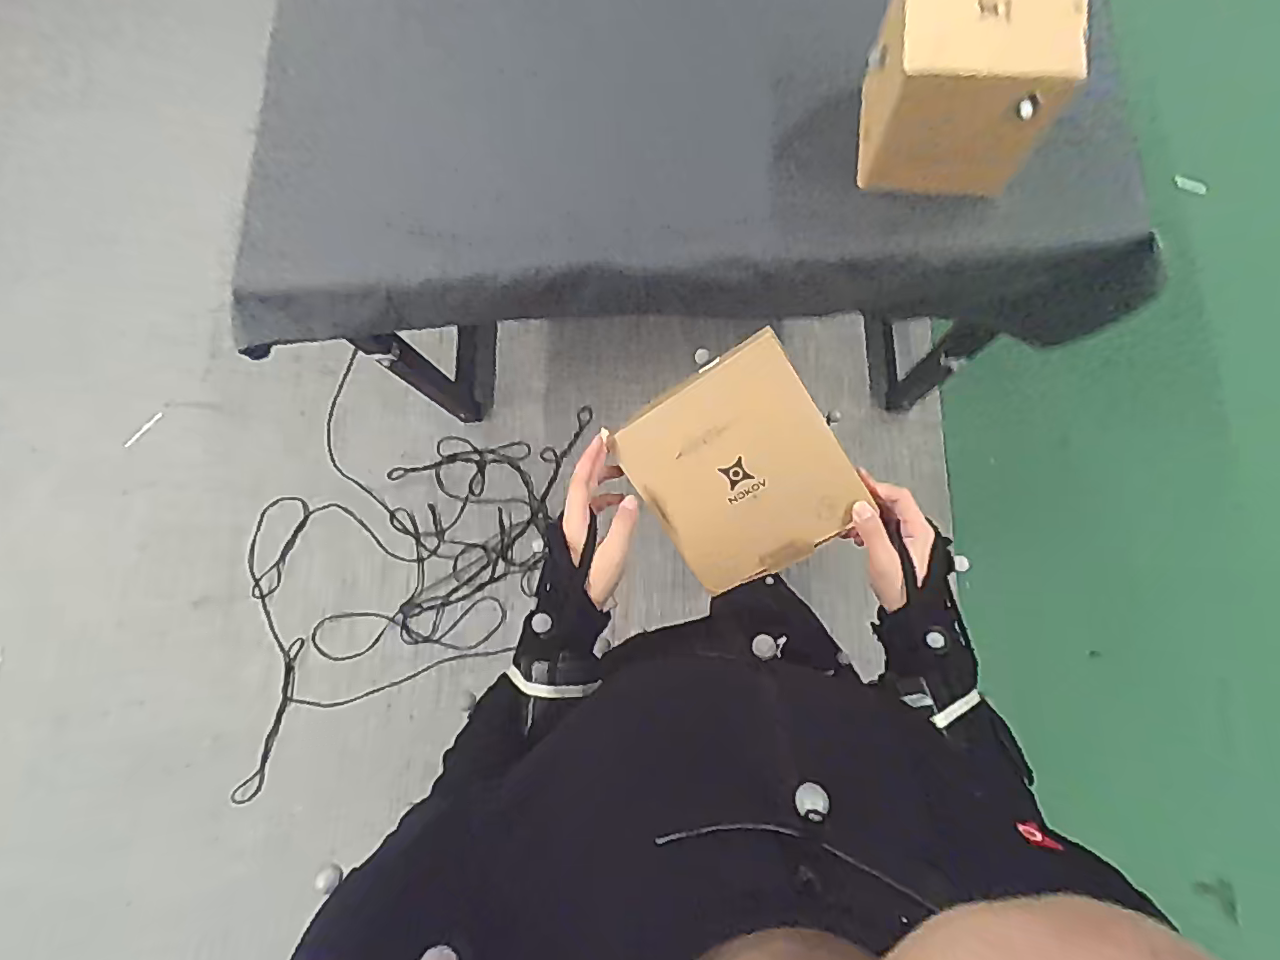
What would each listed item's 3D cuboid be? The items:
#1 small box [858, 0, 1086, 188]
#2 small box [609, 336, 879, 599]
[{"bbox_3d":[0.366,-0.470,0.630,0.179,0.176,0.168,6,79,6],"label":"small box"},{"bbox_3d":[0.101,-0.023,0.524,0.168,0.176,0.179,-31,98,19],"label":"small box"}]
